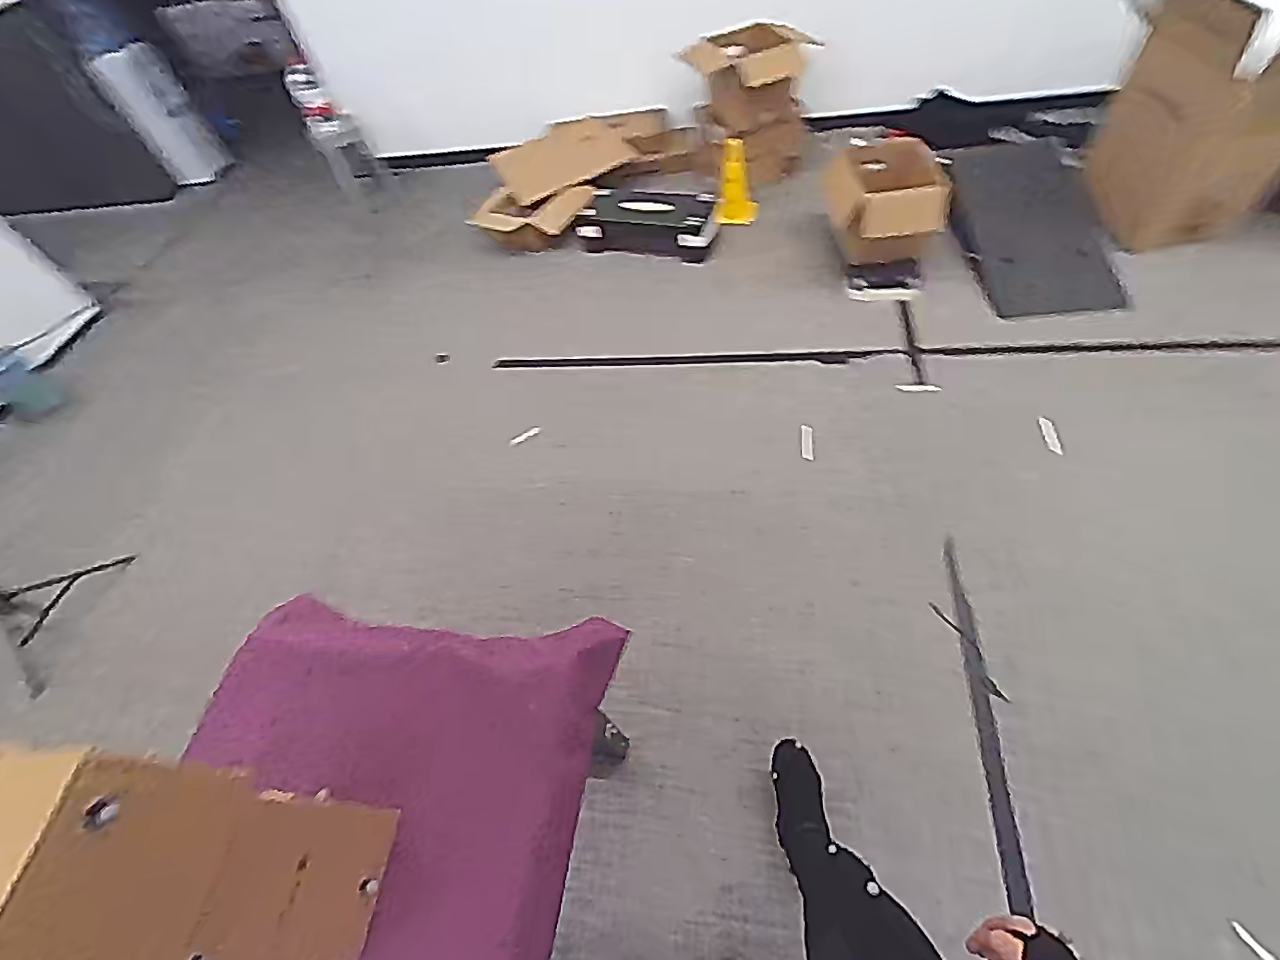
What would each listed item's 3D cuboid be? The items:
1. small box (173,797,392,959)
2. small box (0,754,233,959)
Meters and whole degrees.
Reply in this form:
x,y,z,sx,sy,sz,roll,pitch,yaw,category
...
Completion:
x,y,z,sx,sy,sz,roll,pitch,yaw,category
-0.445,0.514,0.681,0.168,0.176,0.179,-2,55,9,small box
-0.473,0.320,0.418,0.168,0.176,0.179,-4,55,8,small box
